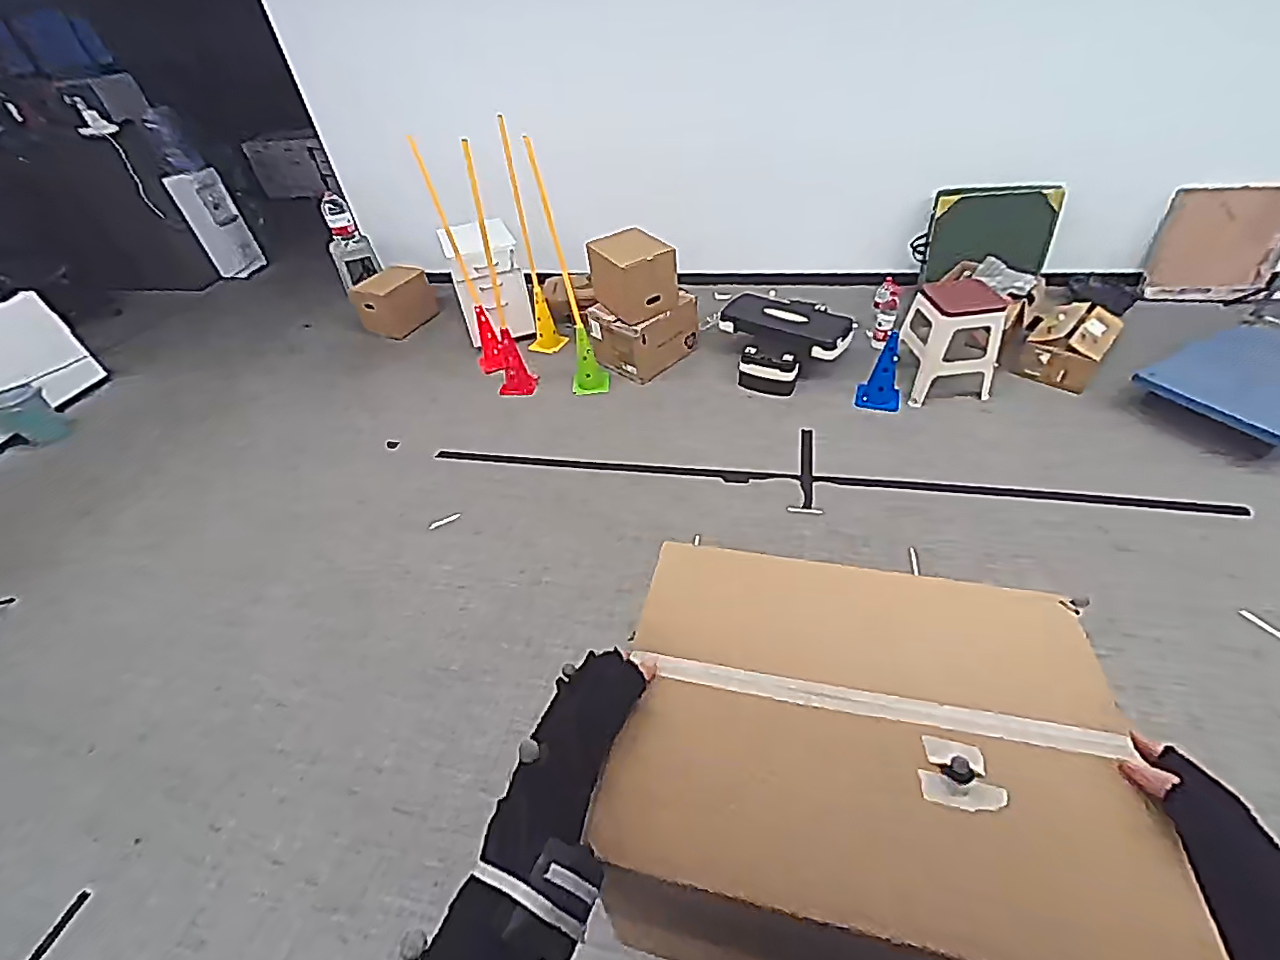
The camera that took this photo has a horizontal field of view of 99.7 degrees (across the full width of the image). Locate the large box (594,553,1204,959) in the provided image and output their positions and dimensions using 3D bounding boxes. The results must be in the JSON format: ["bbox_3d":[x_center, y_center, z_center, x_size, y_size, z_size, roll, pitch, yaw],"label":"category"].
[{"bbox_3d":[0.195,0.312,0.570,0.408,0.320,0.320,6,41,12],"label":"large box"}]
